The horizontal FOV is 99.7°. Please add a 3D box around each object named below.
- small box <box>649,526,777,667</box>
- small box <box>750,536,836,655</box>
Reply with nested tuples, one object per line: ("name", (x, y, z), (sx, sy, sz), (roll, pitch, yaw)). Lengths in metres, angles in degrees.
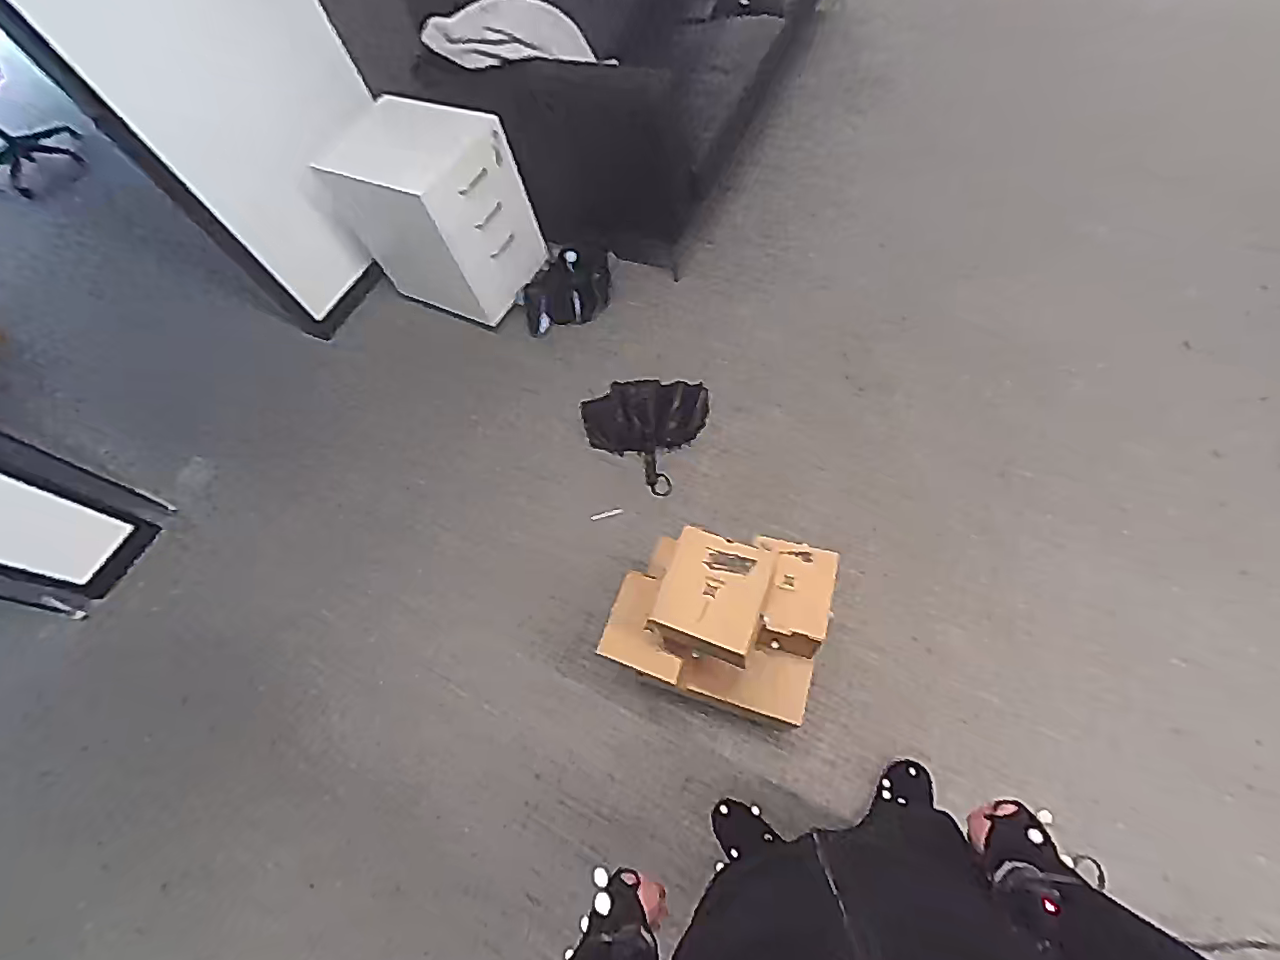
("small box", (0.133, 0.210, 0.955), (0.168, 0.176, 0.179), (17, 69, 19))
("small box", (0.290, 0.240, 1.097), (0.168, 0.176, 0.179), (12, 65, 16))
